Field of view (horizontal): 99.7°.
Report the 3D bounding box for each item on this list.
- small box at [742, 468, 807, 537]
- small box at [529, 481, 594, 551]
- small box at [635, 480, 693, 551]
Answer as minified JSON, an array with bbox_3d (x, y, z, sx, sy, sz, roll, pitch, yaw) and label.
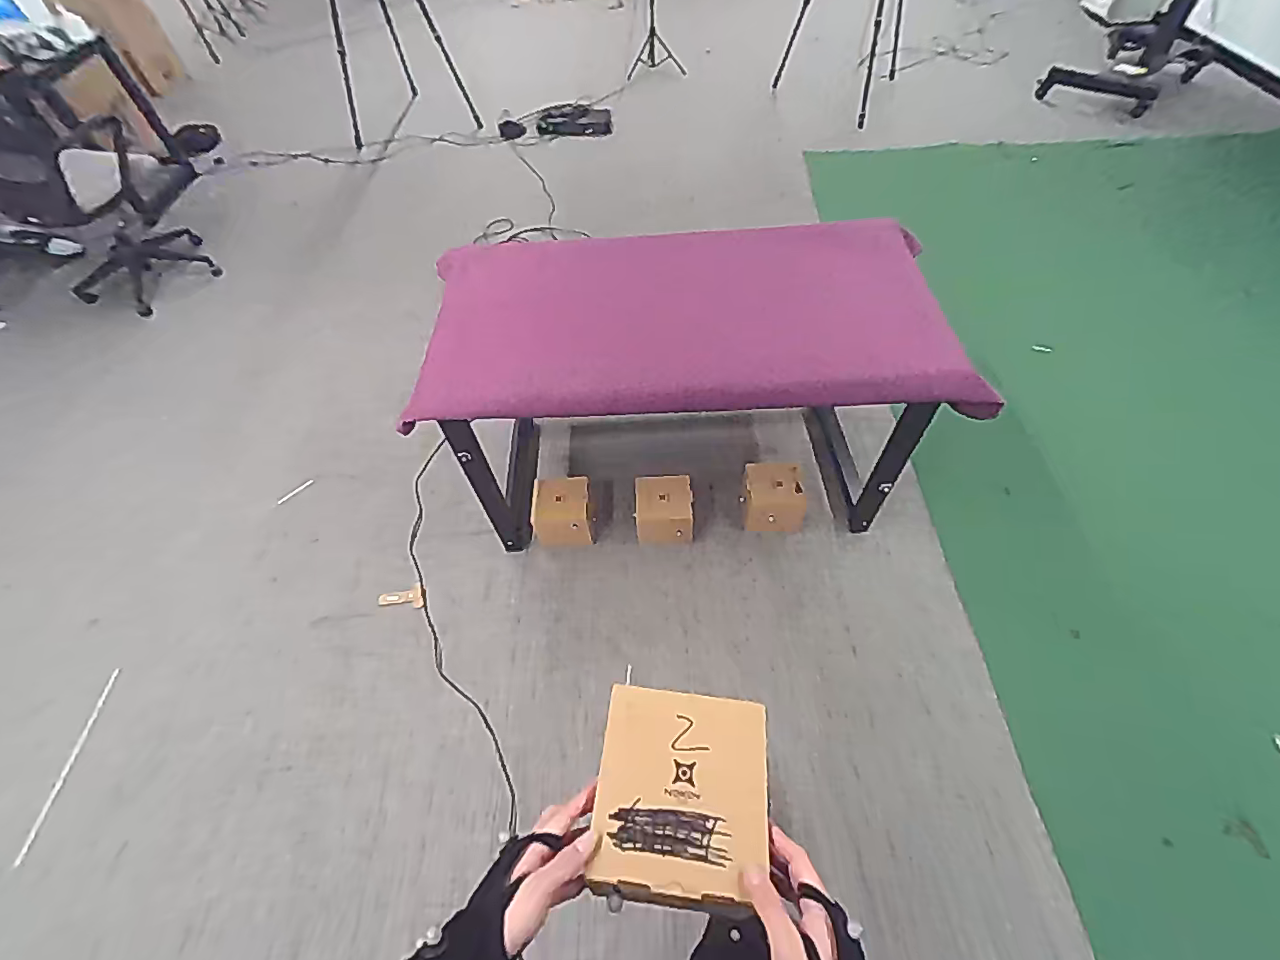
[{"bbox_3d":[0.426,0.075,1.746,0.179,0.176,0.168,-1,55,4],"label":"small box"},{"bbox_3d":[-0.249,0.122,1.758,0.179,0.176,0.168,-3,54,1],"label":"small box"},{"bbox_3d":[0.076,0.117,1.740,0.179,0.176,0.168,-3,54,3],"label":"small box"}]
